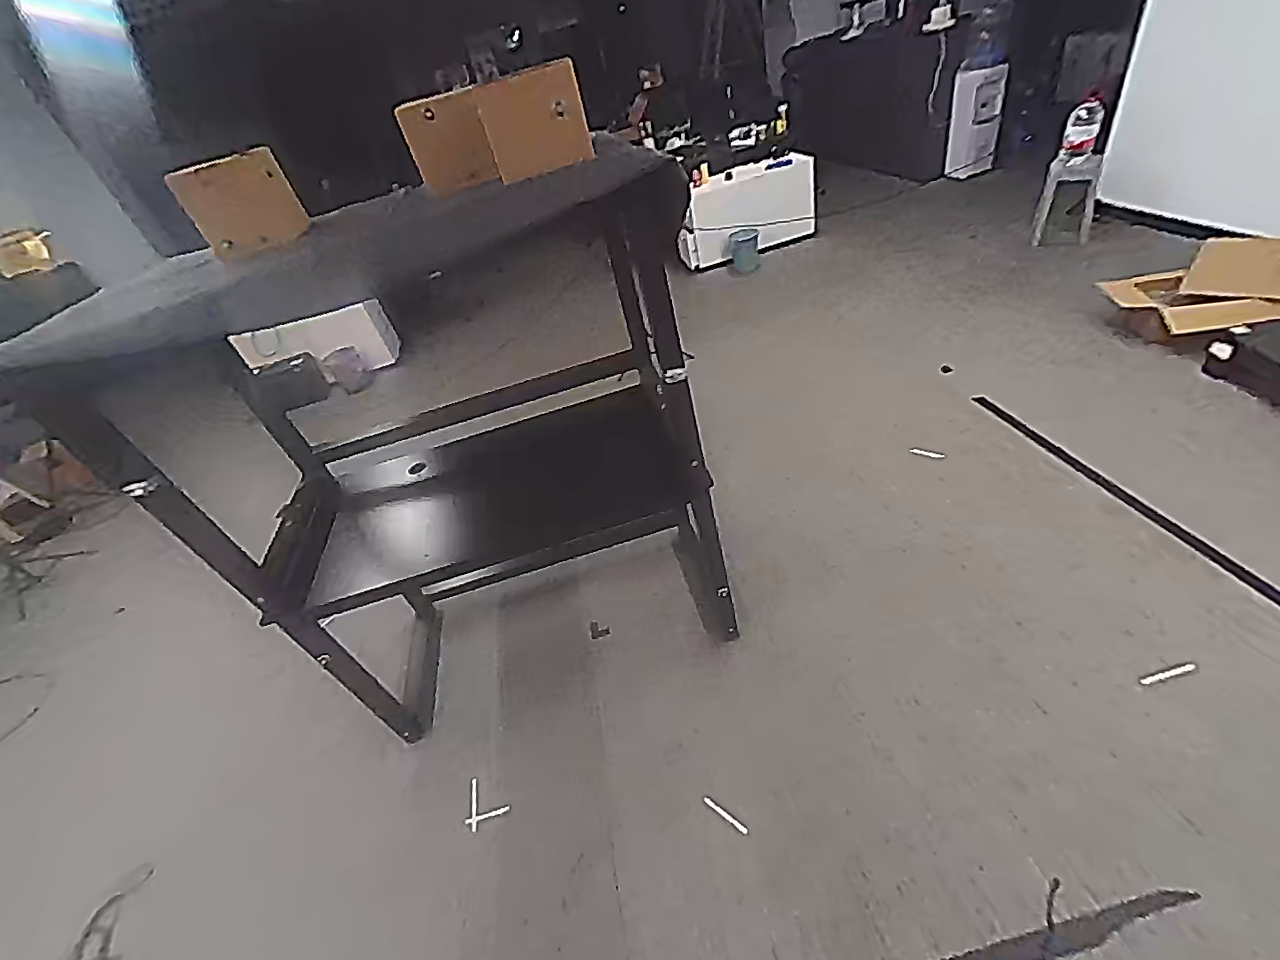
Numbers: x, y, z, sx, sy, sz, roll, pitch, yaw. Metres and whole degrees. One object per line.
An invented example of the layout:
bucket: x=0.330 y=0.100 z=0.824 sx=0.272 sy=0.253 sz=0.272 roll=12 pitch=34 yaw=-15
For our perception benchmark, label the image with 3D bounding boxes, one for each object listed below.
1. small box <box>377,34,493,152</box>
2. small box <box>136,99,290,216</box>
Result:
small box: x=-0.422 y=-0.814 z=1.145 sx=0.168 sy=0.176 sz=0.179 roll=-17 pitch=39 yaw=-1
small box: x=-0.871 y=-0.670 z=1.128 sx=0.168 sy=0.176 sz=0.179 roll=-19 pitch=39 yaw=-5
